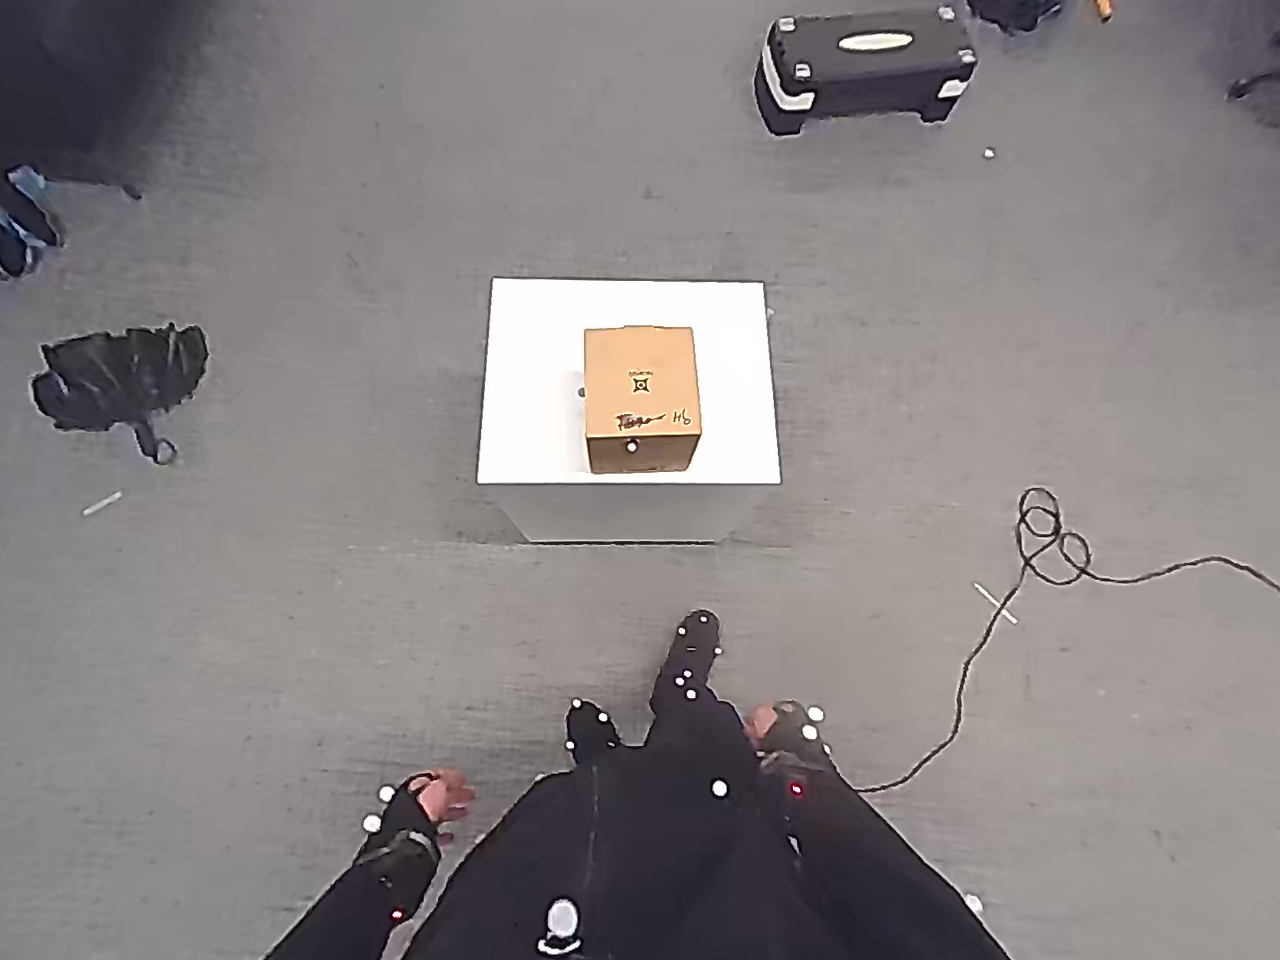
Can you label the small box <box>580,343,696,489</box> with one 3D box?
[{"bbox_3d":[-0.010,-0.097,0.859,0.168,0.176,0.179,-3,71,-4],"label":"small box"}]
